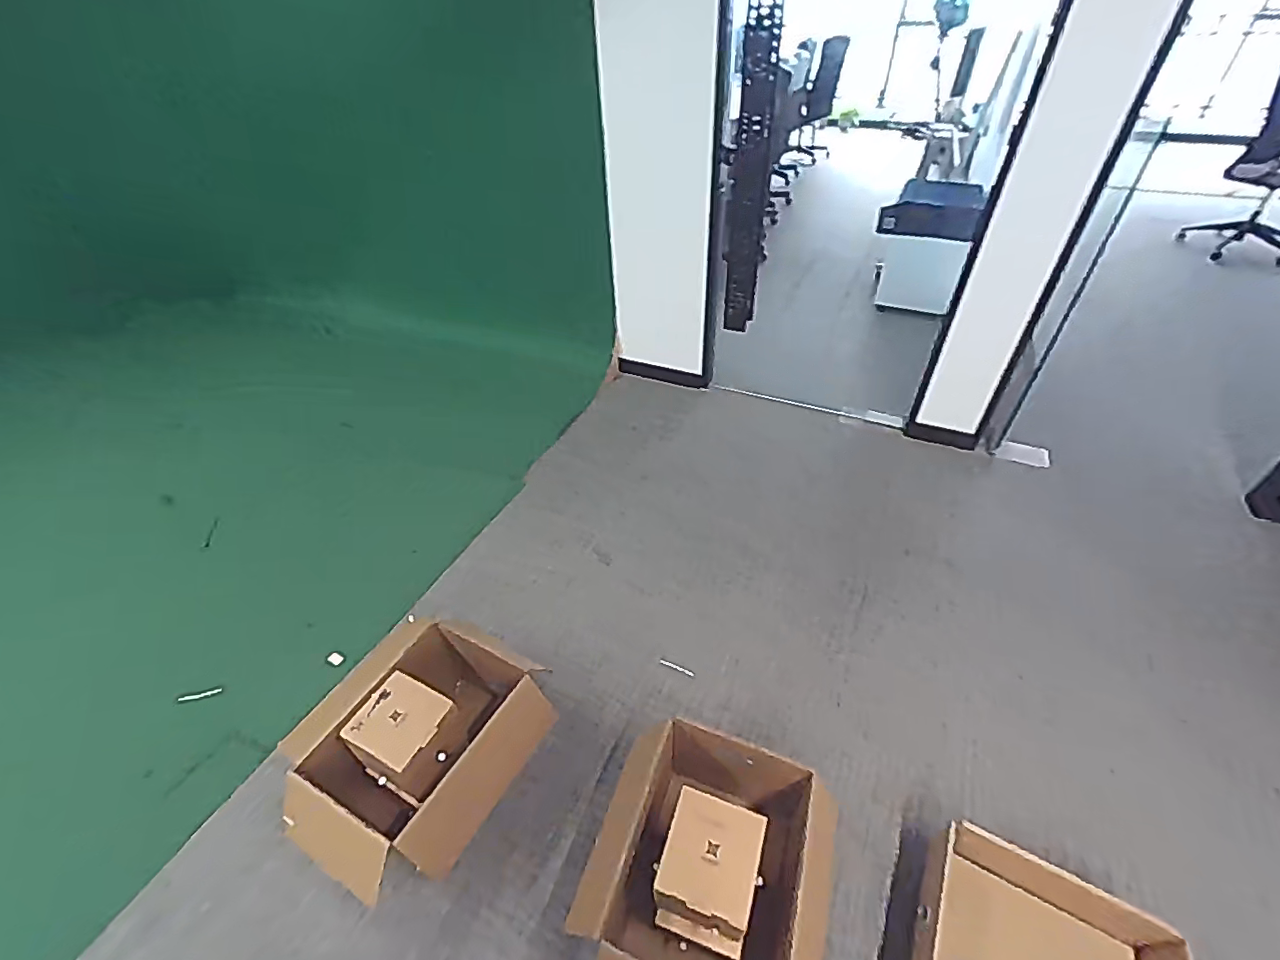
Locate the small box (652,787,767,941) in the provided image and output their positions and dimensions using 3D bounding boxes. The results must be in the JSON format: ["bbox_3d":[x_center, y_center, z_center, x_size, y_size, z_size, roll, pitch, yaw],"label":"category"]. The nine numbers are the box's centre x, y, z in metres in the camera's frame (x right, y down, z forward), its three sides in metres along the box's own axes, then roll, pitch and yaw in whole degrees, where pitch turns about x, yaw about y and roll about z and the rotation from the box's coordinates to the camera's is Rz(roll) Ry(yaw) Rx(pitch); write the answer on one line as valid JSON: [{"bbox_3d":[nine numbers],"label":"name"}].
[{"bbox_3d":[0.131,0.721,1.013,0.168,0.176,0.179,14,46,16],"label":"small box"}]
